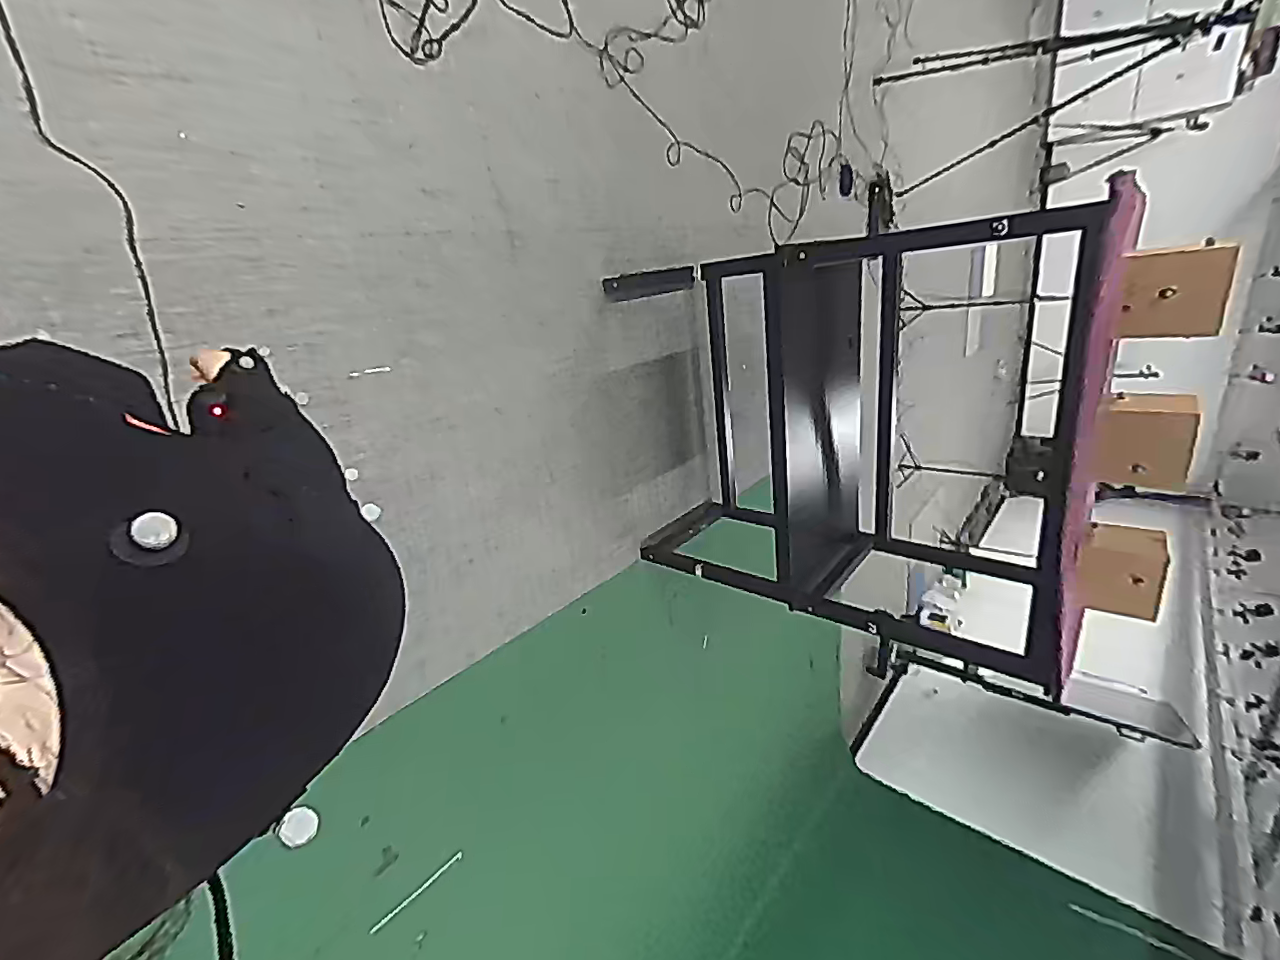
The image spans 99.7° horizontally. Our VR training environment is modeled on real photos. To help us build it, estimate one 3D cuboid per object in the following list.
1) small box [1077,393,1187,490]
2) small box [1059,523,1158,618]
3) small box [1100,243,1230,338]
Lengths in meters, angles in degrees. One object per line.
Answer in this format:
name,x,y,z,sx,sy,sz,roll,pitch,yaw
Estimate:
small box,1.124,-0.097,1.244,0.168,0.176,0.179,-29,118,-42
small box,1.185,0.220,1.377,0.168,0.176,0.179,-27,117,-45
small box,1.082,-0.392,1.125,0.179,0.176,0.168,-28,120,-42
